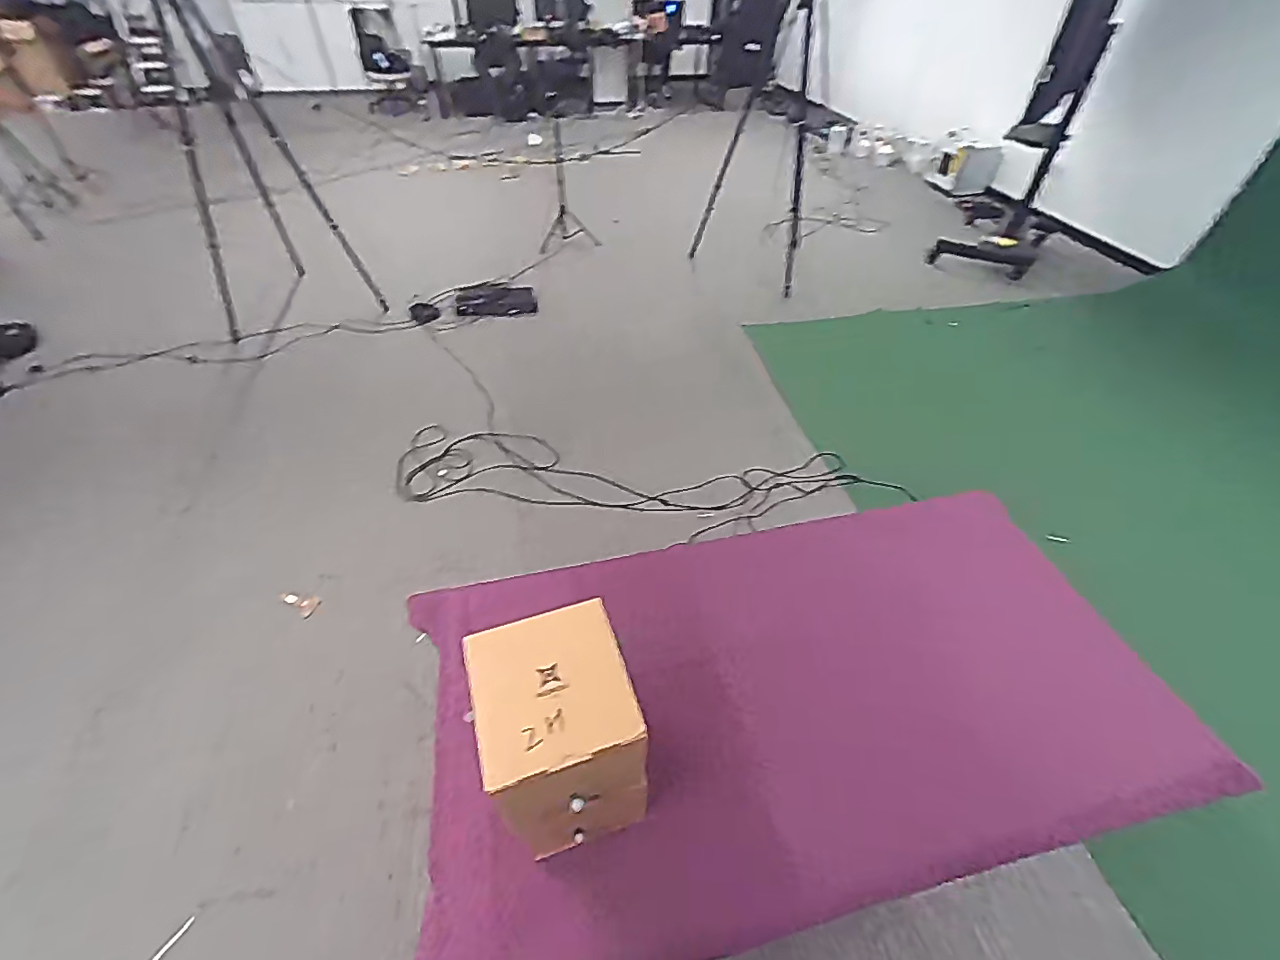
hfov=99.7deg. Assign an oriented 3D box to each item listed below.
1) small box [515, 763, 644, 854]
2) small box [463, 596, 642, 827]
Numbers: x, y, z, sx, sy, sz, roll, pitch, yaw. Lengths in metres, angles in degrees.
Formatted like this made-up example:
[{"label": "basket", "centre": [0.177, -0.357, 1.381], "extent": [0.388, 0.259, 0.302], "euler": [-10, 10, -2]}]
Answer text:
[{"label": "small box", "centre": [-0.101, 0.387, 0.761], "extent": [0.168, 0.176, 0.179], "euler": [-13, 47, -14]}, {"label": "small box", "centre": [-0.104, 0.272, 0.643], "extent": [0.168, 0.176, 0.179], "euler": [-14, 47, -14]}]
